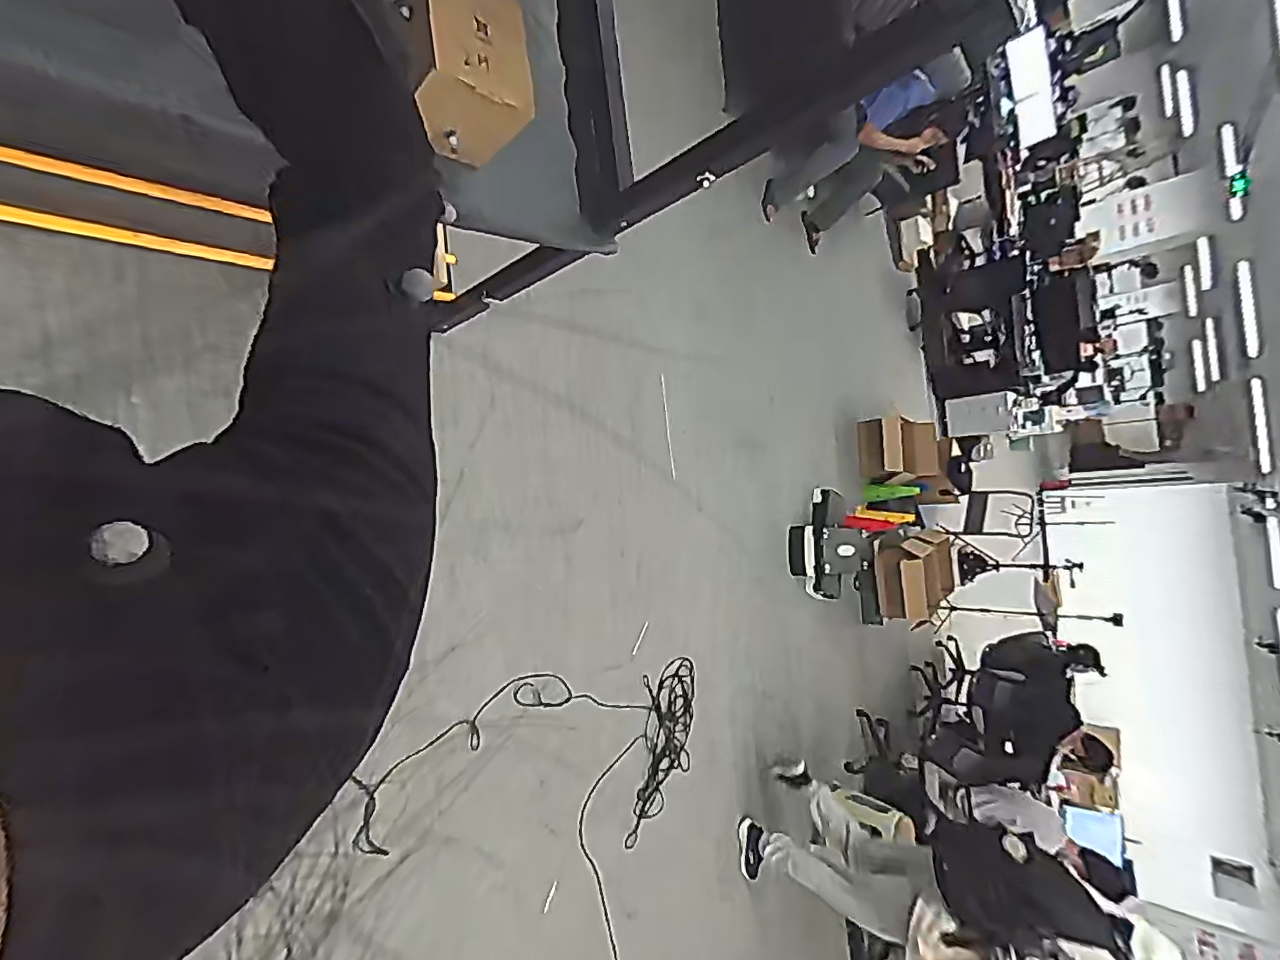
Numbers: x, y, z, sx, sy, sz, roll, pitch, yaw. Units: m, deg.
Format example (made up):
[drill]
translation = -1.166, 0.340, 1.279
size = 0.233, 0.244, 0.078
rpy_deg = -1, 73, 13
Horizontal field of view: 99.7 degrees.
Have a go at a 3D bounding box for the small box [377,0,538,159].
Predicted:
[small box]
translation = -0.281, -0.639, 0.823
size = 0.168, 0.176, 0.179
rpy_deg = -8, 90, -46
